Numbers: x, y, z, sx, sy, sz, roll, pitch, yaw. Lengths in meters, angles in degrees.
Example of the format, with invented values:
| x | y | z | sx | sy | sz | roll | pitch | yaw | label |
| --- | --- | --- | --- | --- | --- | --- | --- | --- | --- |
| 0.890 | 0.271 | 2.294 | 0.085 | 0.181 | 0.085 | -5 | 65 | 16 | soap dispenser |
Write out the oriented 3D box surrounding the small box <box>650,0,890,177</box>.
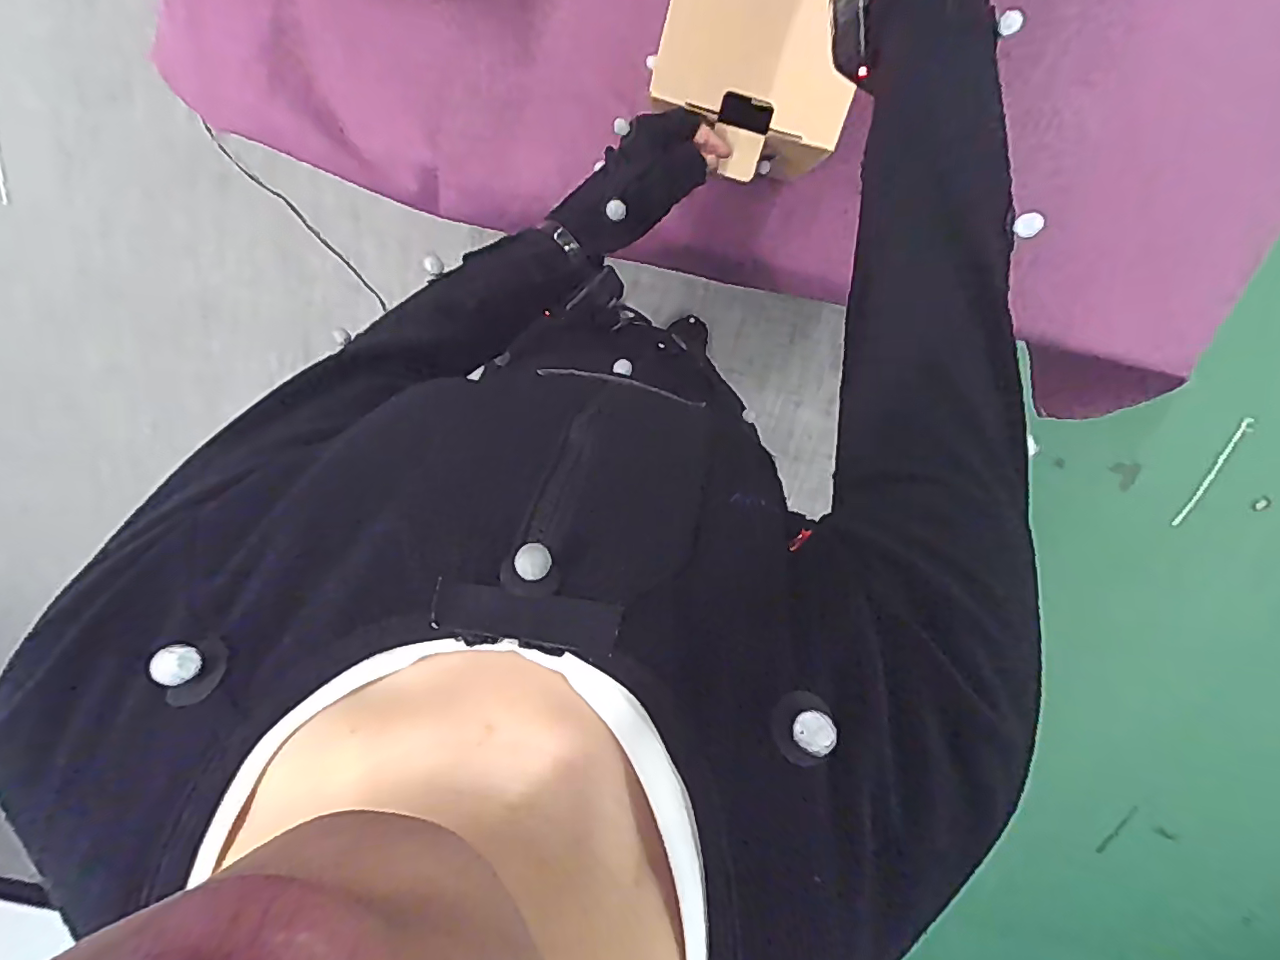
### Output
| x | y | z | sx | sy | sz | roll | pitch | yaw | label |
| --- | --- | --- | --- | --- | --- | --- | --- | --- | --- |
| 0.114 | -0.401 | 0.495 | 0.168 | 0.176 | 0.179 | 15 | 110 | -3 | small box |
